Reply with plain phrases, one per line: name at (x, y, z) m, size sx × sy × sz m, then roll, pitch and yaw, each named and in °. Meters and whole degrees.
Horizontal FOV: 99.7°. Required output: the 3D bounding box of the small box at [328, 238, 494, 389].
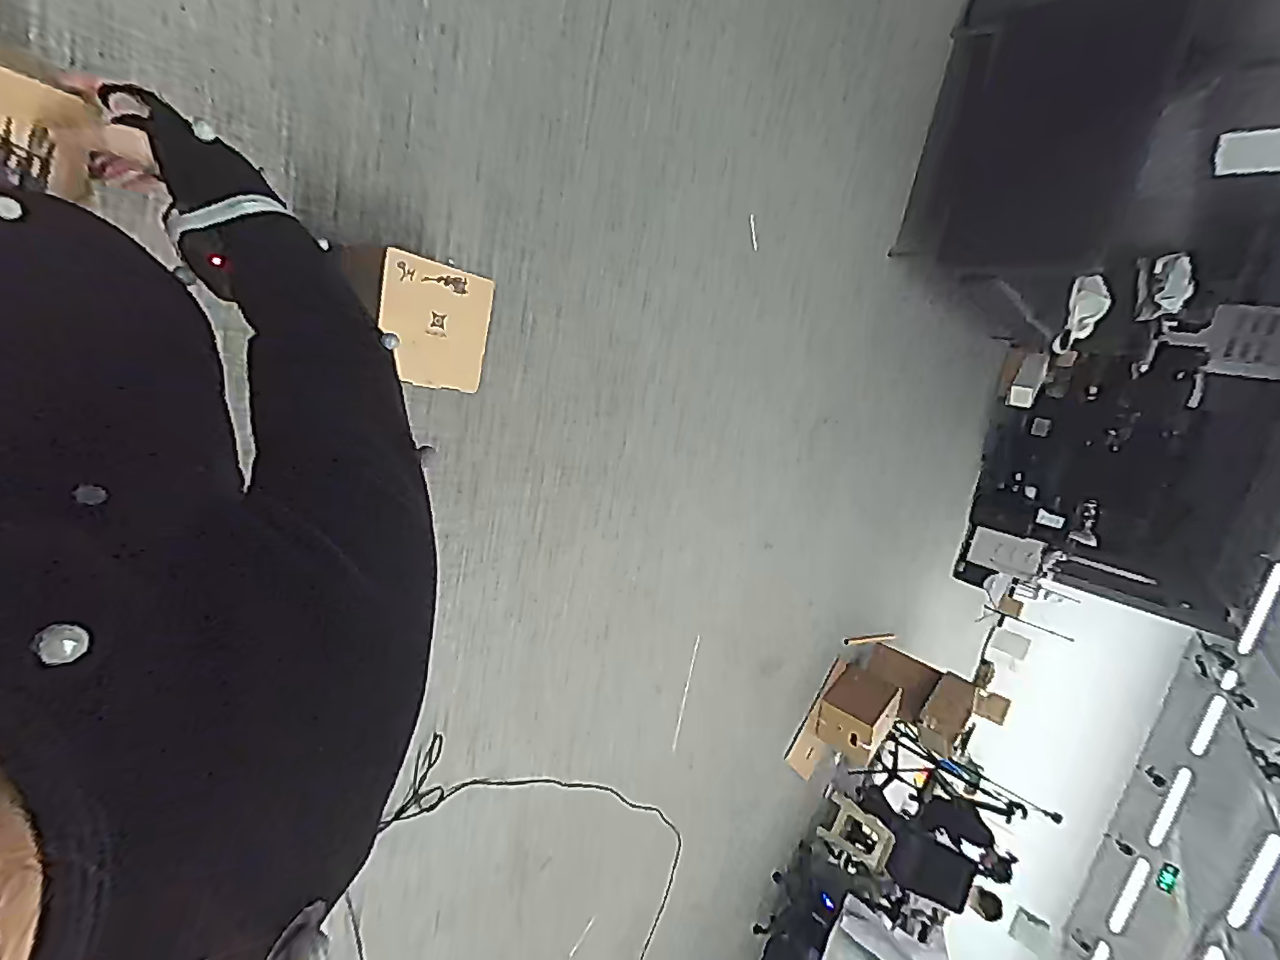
small box at (-0.351, -0.251, 0.821) m, size 0.168 × 0.176 × 0.179 m, roll 1°, pitch 106°, yaw -50°
